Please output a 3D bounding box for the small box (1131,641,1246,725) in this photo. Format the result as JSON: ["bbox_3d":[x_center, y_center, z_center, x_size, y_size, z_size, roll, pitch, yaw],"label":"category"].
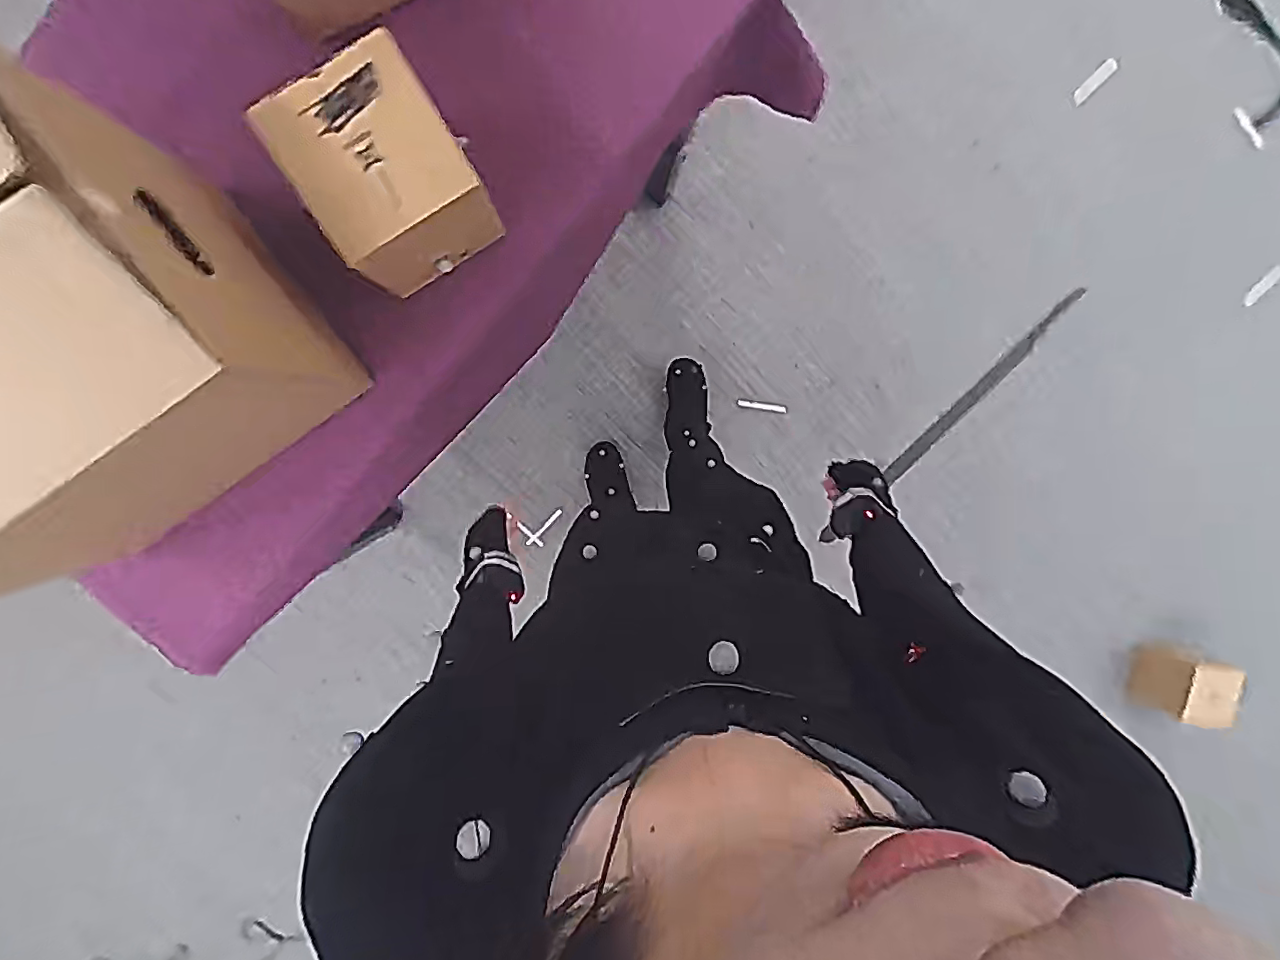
[{"bbox_3d":[1.659,0.614,1.646,0.168,0.176,0.179,7,95,-7],"label":"small box"}]

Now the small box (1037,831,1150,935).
[{"bbox_3d":[1.414,1.253,1.699,0.179,0.176,0.168,37,93,-7],"label":"small box"}]
